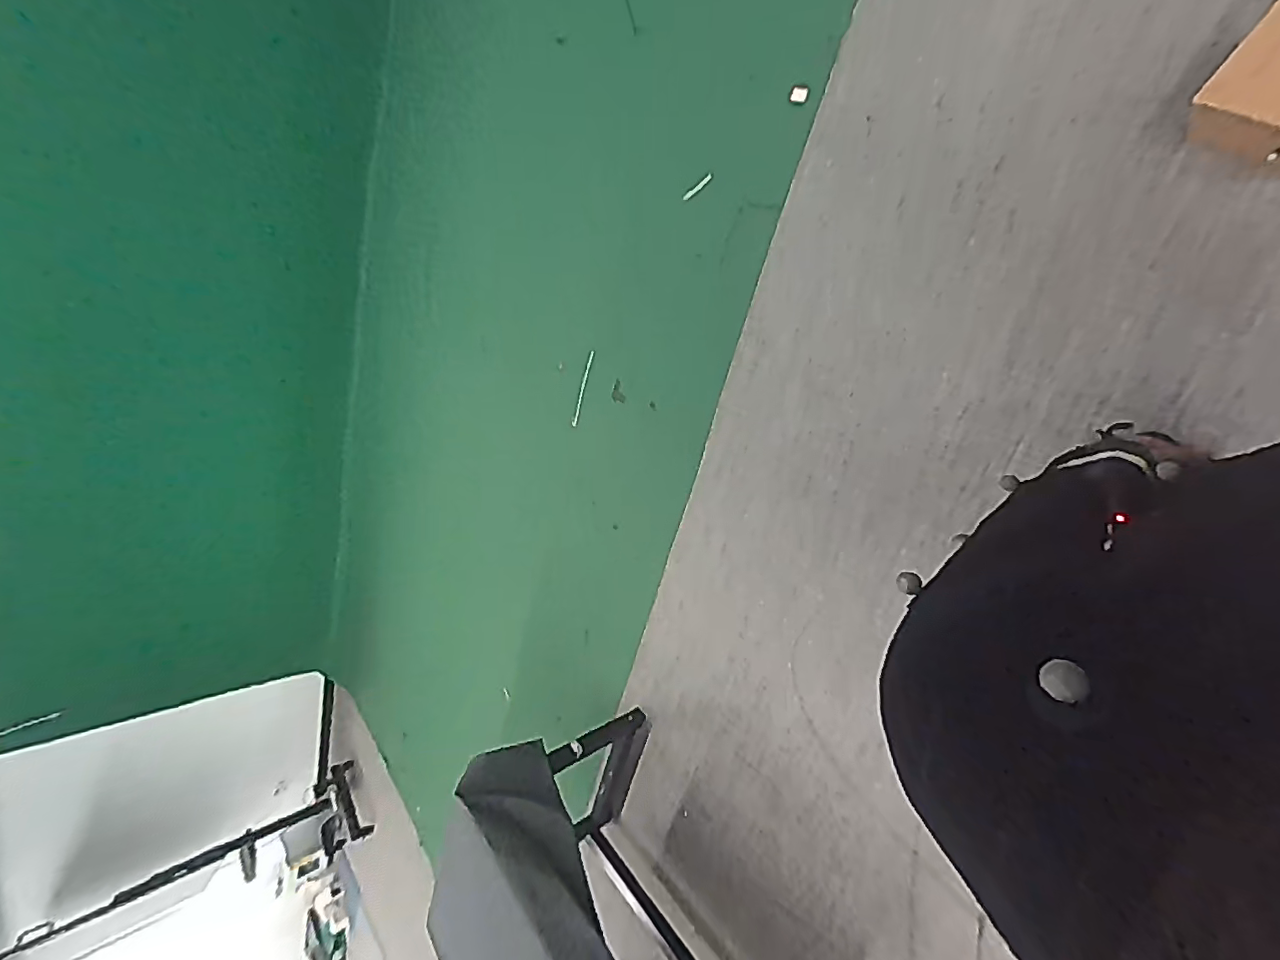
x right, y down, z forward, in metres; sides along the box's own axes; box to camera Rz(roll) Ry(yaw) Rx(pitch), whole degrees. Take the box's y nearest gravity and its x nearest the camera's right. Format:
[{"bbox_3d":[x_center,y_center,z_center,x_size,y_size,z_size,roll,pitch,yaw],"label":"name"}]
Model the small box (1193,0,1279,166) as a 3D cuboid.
[{"bbox_3d":[0.987,-0.594,0.801,0.179,0.176,0.168,50,124,31],"label":"small box"}]
